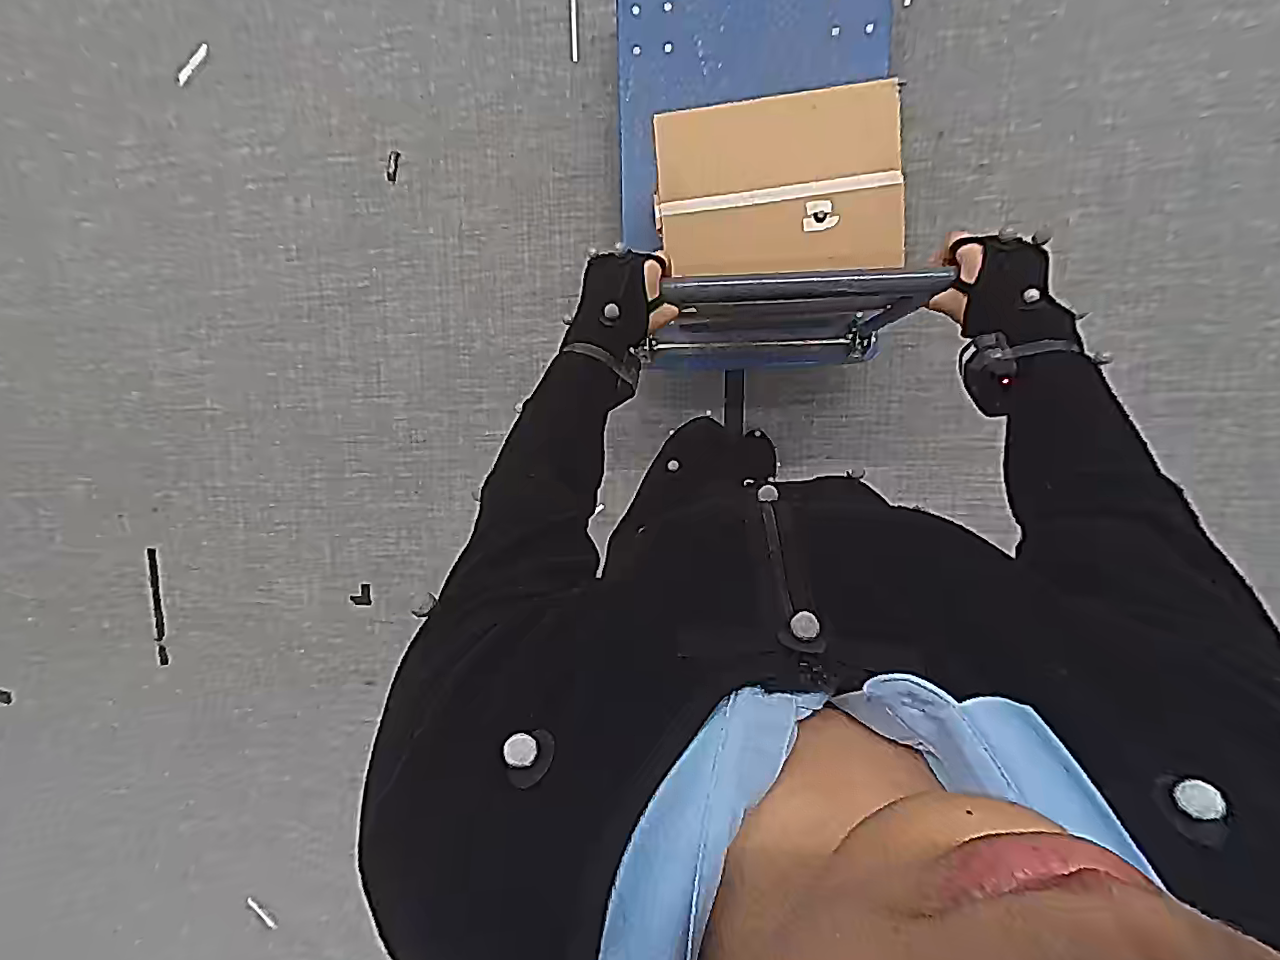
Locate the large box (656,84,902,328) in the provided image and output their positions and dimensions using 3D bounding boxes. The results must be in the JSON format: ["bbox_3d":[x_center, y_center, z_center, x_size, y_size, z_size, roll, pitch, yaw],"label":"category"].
[{"bbox_3d":[0.252,-0.503,1.077,0.408,0.320,0.320,-5,98,6],"label":"large box"}]
